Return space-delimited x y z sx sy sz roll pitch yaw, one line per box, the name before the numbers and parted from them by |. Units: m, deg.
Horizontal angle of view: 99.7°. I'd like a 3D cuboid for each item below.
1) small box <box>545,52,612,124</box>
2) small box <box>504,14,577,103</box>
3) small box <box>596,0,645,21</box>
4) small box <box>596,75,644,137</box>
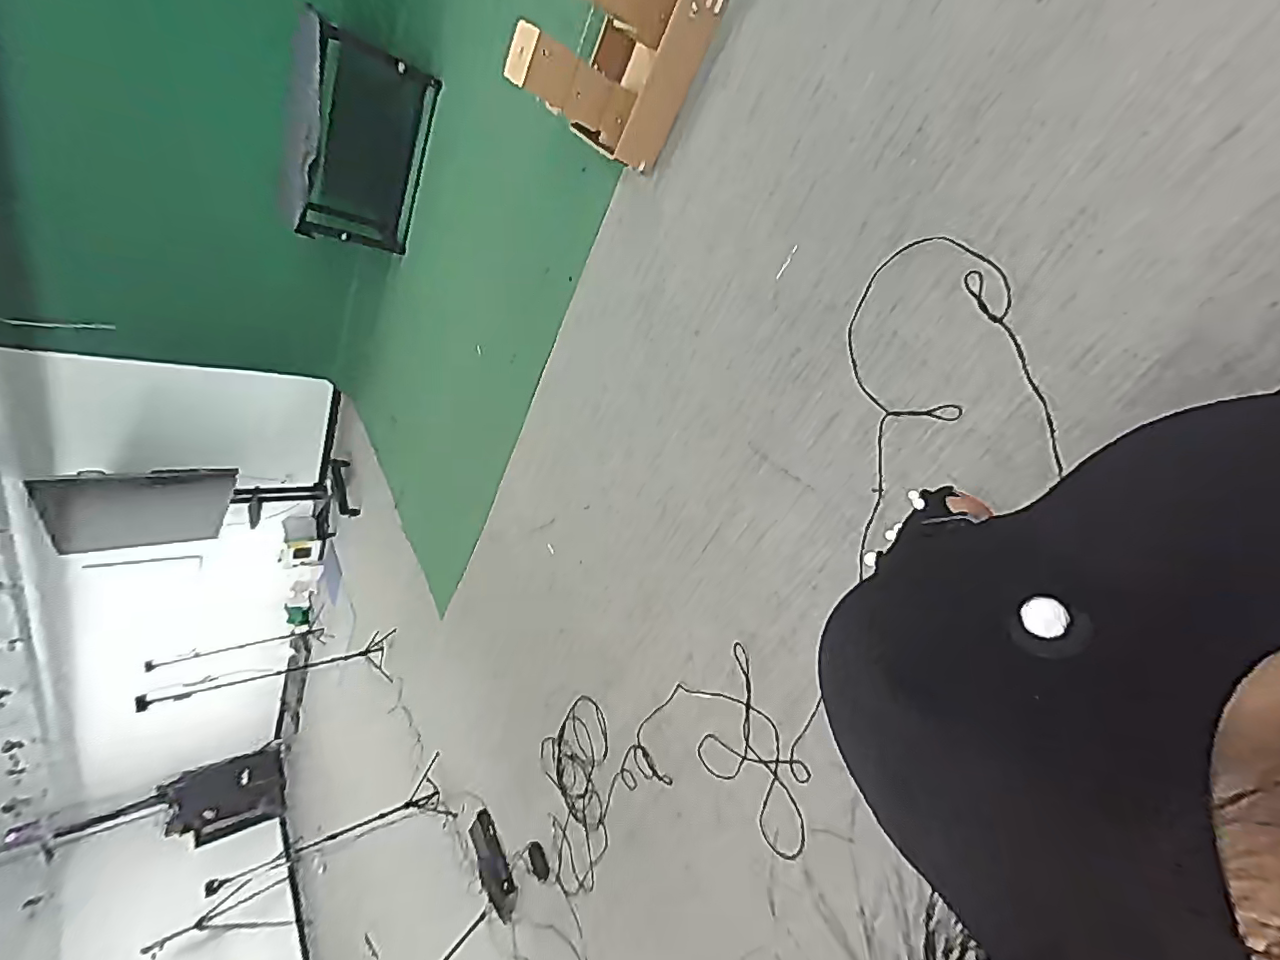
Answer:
small box | -0.229 -1.463 2.005 0.168 0.176 0.179 52 125 31
small box | -0.342 -1.464 1.884 0.168 0.176 0.179 52 126 32
small box | -0.073 -1.705 1.826 0.168 0.176 0.179 49 126 31
small box | -0.113 -1.479 2.120 0.179 0.176 0.168 51 125 32
